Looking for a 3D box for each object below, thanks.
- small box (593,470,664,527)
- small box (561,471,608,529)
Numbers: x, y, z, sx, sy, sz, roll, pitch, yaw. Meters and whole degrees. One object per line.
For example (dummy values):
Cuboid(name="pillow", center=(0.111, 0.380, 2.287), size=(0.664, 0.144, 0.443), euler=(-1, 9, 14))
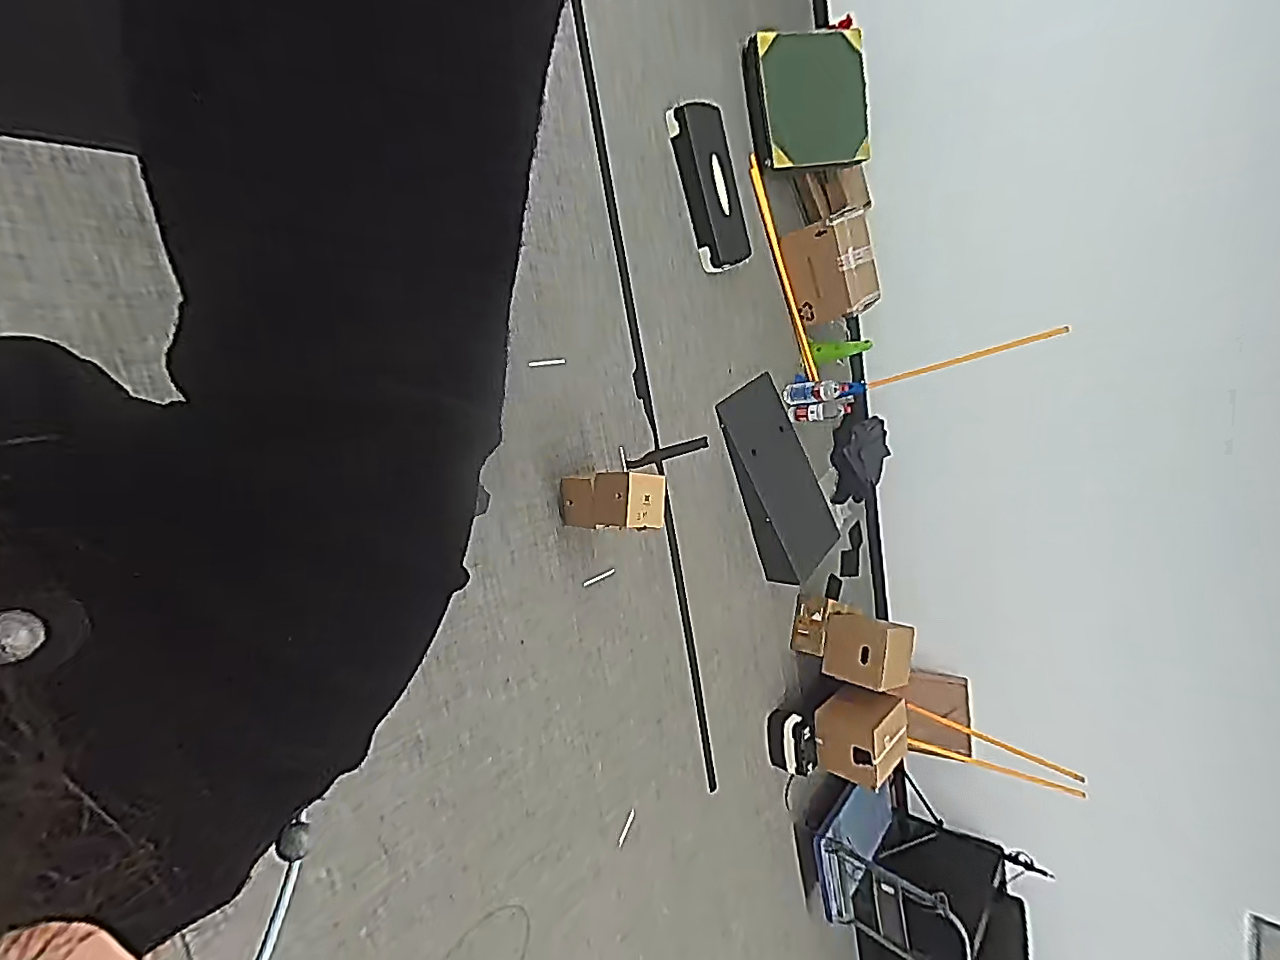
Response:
Cuboid(name="small box", center=(-0.039, 0.063, 1.773), size=(0.168, 0.176, 0.179), euler=(6, 86, -44))
Cuboid(name="small box", center=(-0.157, 0.064, 1.889), size=(0.168, 0.176, 0.179), euler=(-12, 100, -44))
